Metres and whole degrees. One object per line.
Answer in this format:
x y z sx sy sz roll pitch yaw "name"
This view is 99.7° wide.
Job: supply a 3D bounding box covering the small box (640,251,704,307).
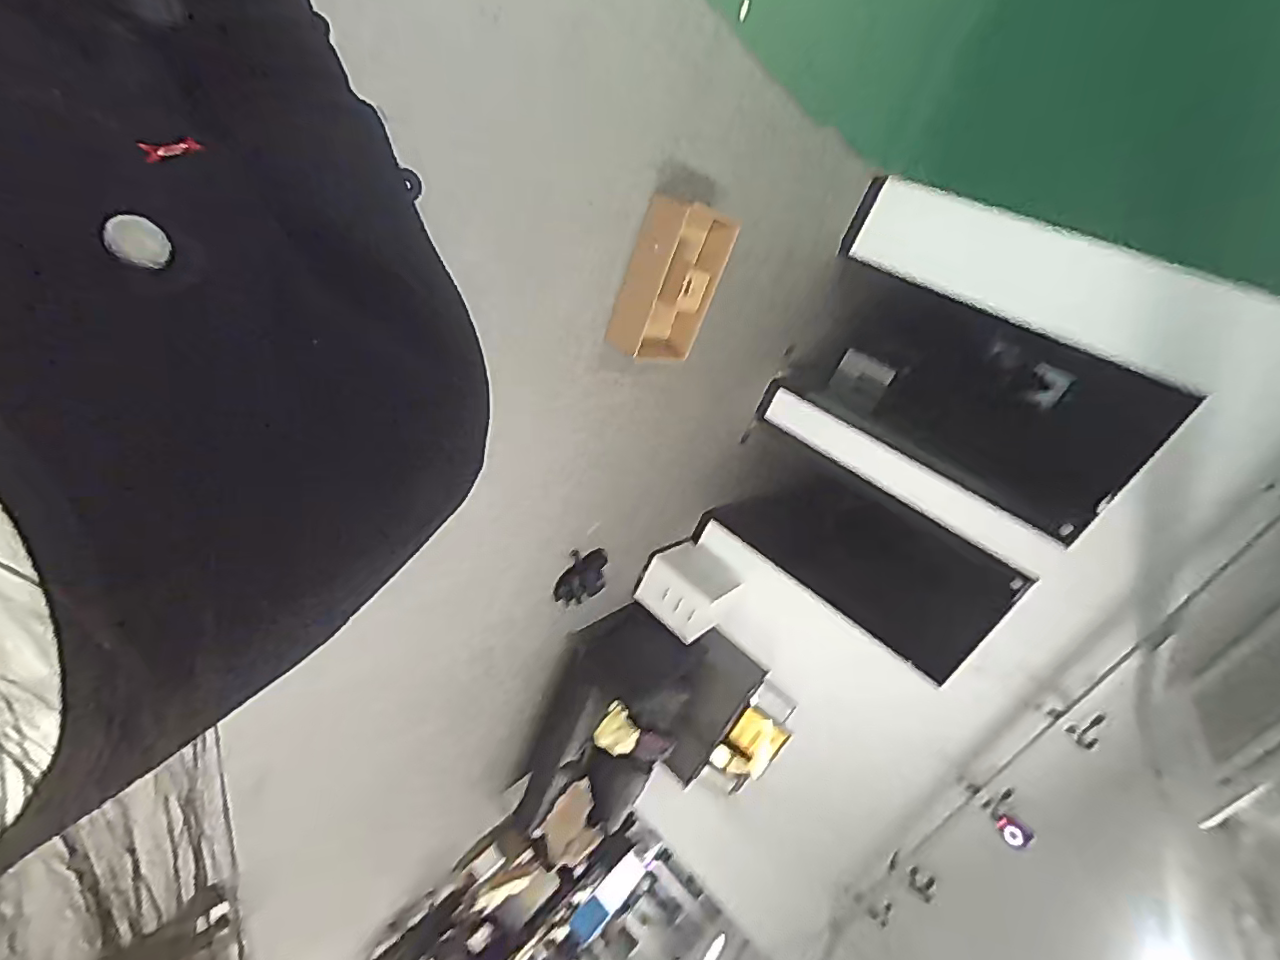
0.128 -0.827 2.222 0.179 0.176 0.168 -18 138 -52 "small box"
